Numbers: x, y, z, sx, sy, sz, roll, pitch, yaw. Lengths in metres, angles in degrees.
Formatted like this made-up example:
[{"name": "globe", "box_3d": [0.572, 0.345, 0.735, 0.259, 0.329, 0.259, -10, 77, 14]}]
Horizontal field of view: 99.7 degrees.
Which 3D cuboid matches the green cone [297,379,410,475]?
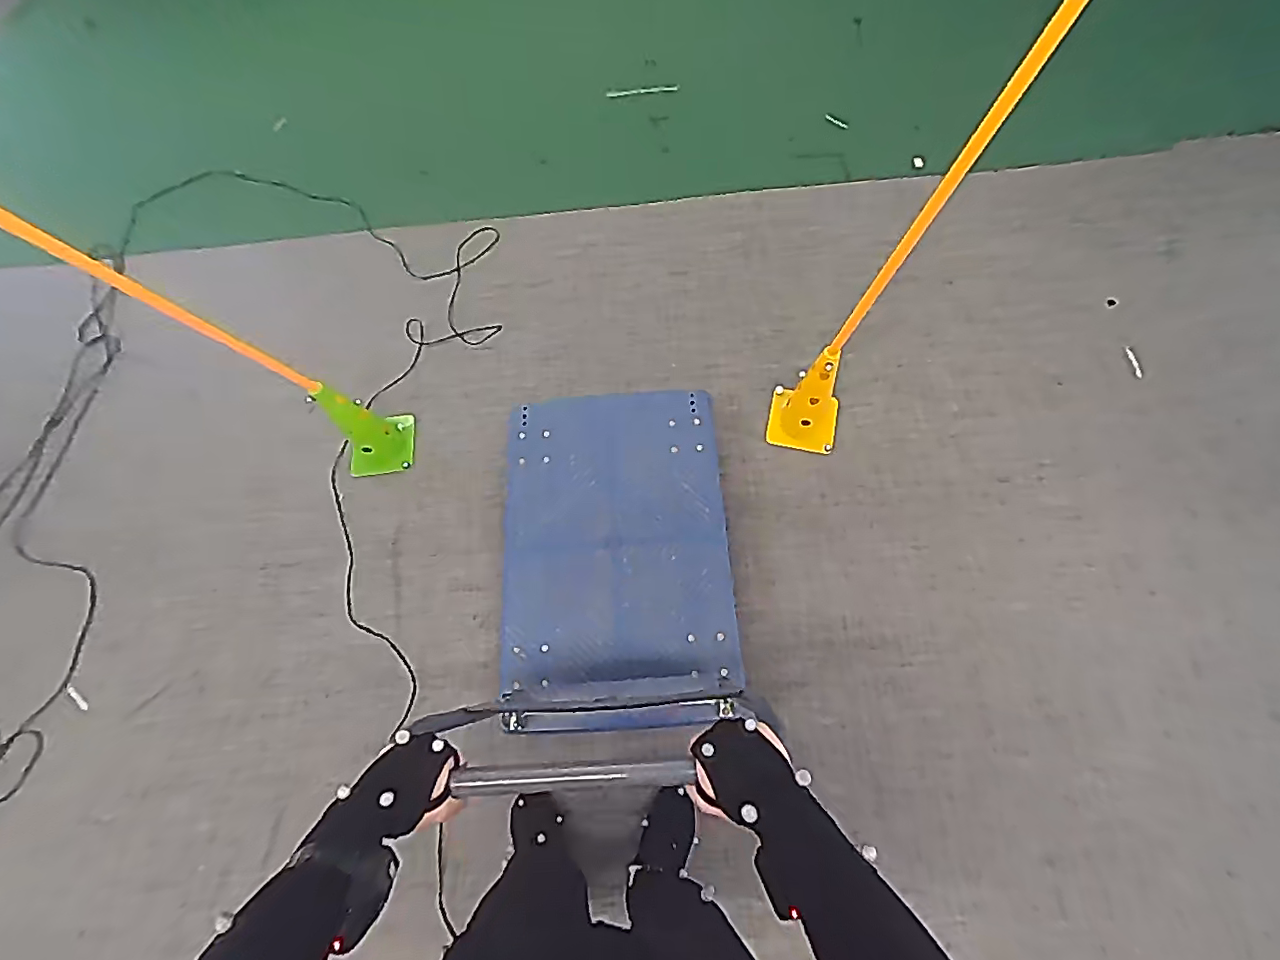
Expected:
[{"name": "green cone", "box_3d": [-0.847, -0.183, 1.564, 0.202, 0.368, 0.200, -9, 67, 2]}]
